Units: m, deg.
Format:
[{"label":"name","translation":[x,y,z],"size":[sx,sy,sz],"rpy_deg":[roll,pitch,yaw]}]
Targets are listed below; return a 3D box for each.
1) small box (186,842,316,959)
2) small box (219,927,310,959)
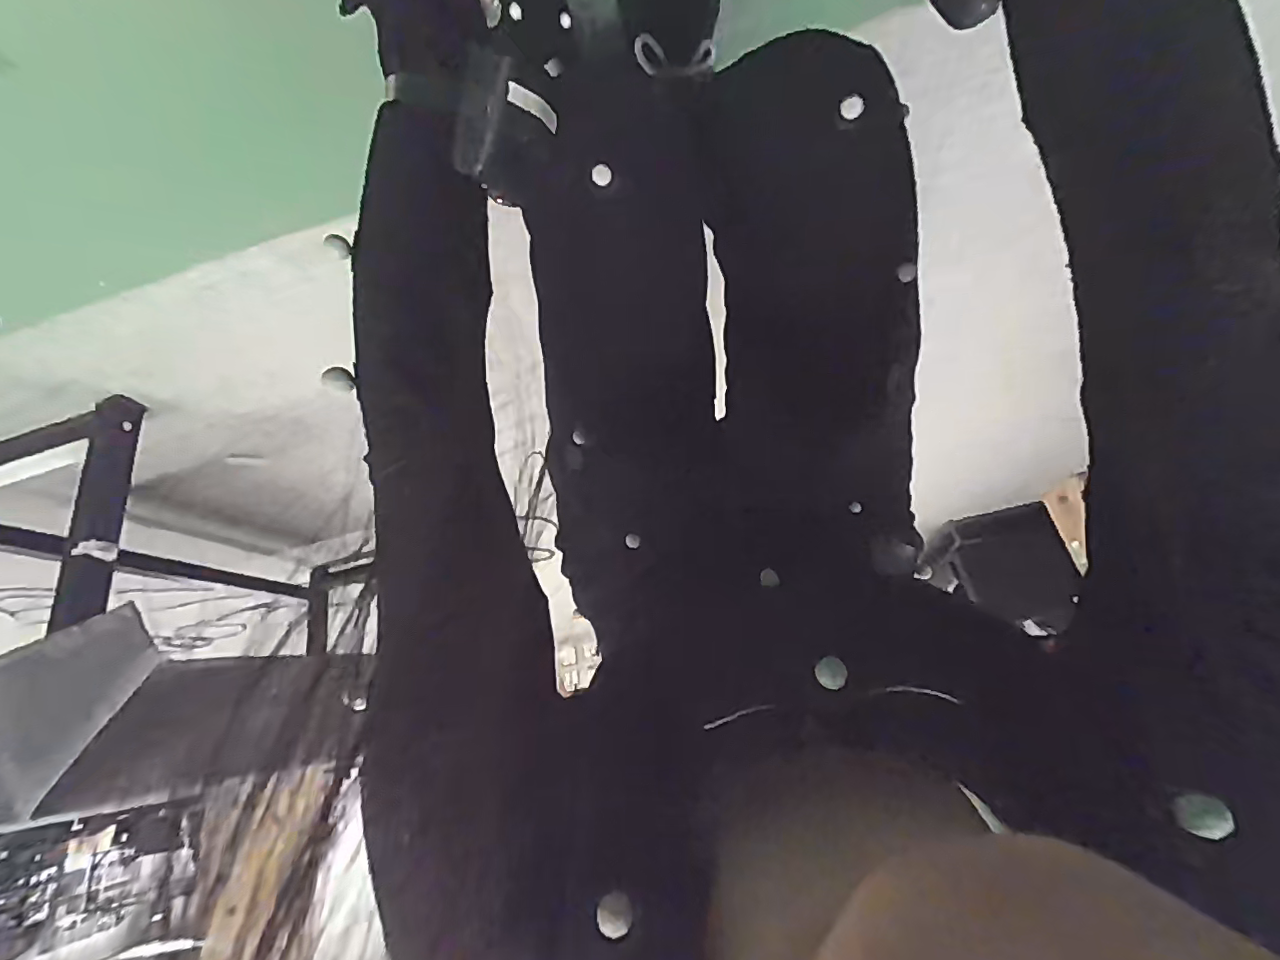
[{"label":"small box","translation":[-0.875,0.953,1.229],"size":[0.168,0.176,0.179],"rpy_deg":[-15,156,9]},{"label":"small box","translation":[-0.851,1.103,1.167],"size":[0.168,0.176,0.179],"rpy_deg":[-14,156,7]}]
